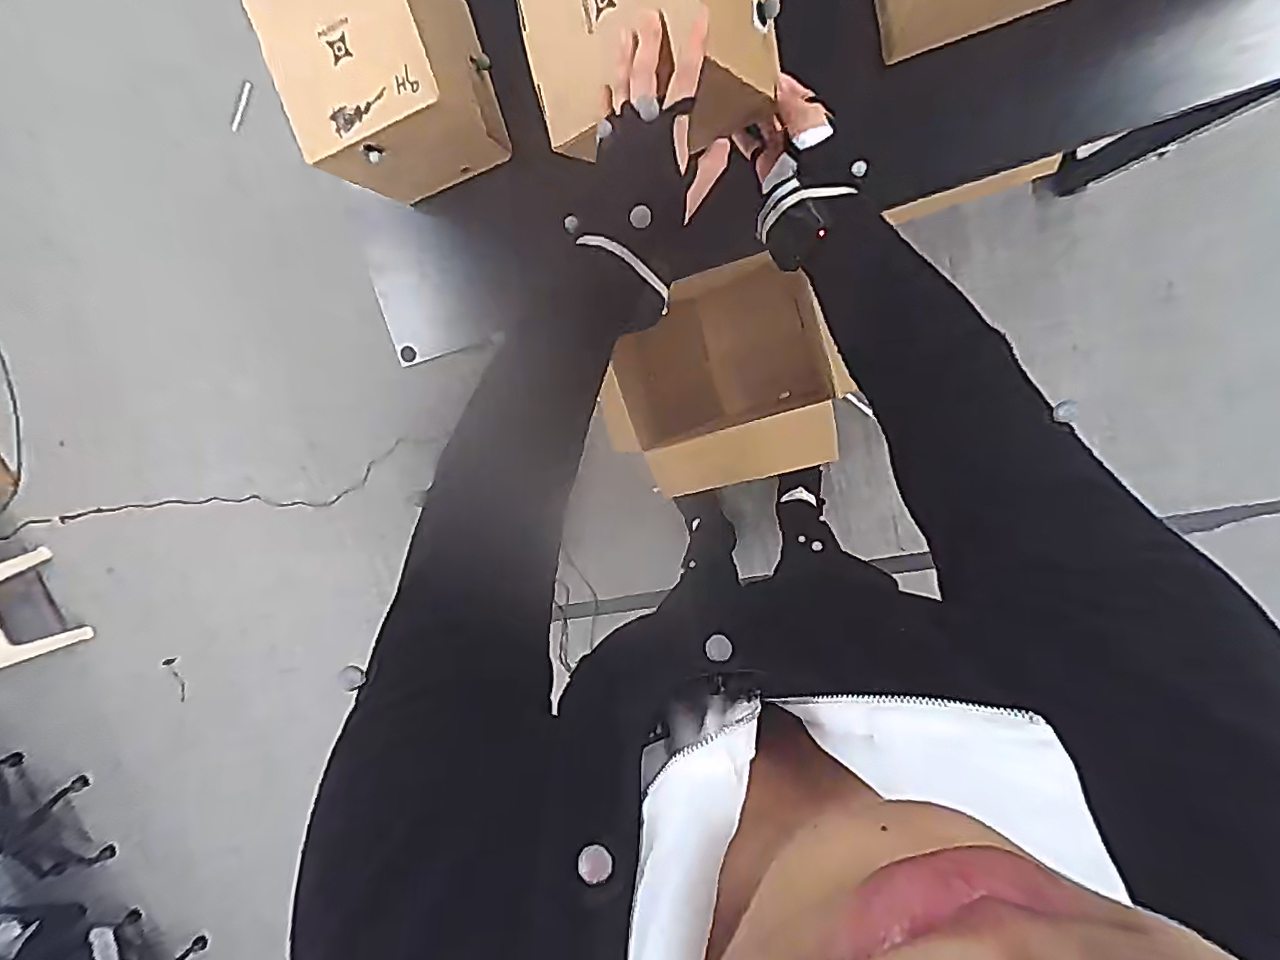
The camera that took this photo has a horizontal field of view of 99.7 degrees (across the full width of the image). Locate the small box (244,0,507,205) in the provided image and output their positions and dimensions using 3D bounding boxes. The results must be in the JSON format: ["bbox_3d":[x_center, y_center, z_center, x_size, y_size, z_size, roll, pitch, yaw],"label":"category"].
[{"bbox_3d":[-0.273,-0.436,0.592,0.168,0.176,0.179,-14,100,14],"label":"small box"}]

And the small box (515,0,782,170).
[{"bbox_3d":[0.011,-0.417,0.509,0.179,0.176,0.168,-5,105,37],"label":"small box"}]

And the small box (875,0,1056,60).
[{"bbox_3d":[0.297,-0.504,0.452,0.179,0.176,0.168,-11,101,14],"label":"small box"}]
